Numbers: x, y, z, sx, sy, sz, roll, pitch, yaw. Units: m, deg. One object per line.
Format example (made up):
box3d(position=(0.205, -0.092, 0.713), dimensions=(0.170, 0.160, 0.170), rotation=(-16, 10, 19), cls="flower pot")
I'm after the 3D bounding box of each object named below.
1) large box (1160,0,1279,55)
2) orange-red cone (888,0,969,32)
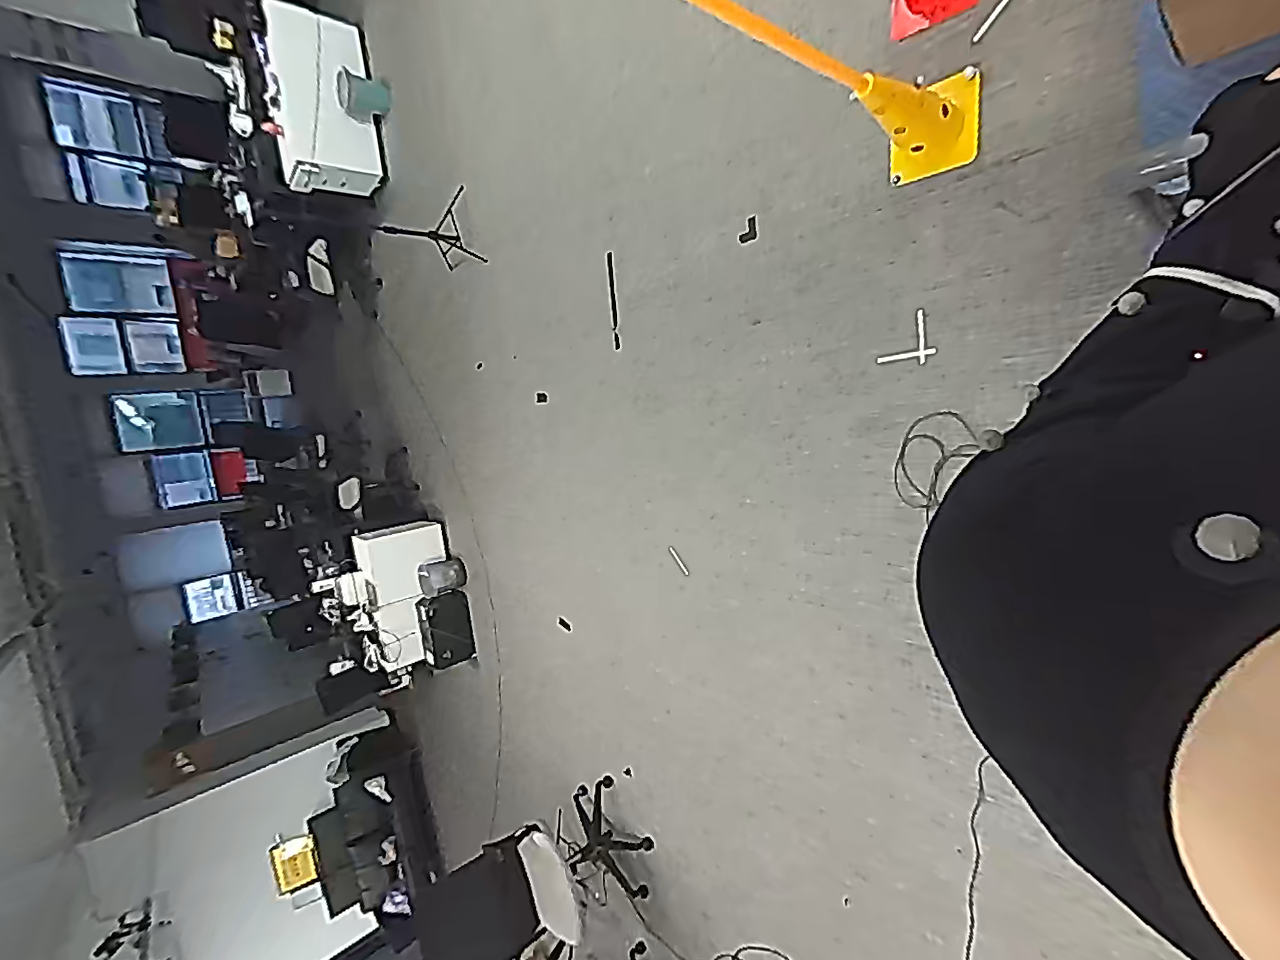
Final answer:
box3d(position=(0.873, -0.795, 0.606), dimensions=(0.408, 0.320, 0.320), rotation=(1, 101, 51), cls="large box")
box3d(position=(0.547, -1.144, 1.127), dimensions=(0.198, 0.360, 0.199), rotation=(13, 108, 47), cls="orange-red cone")
